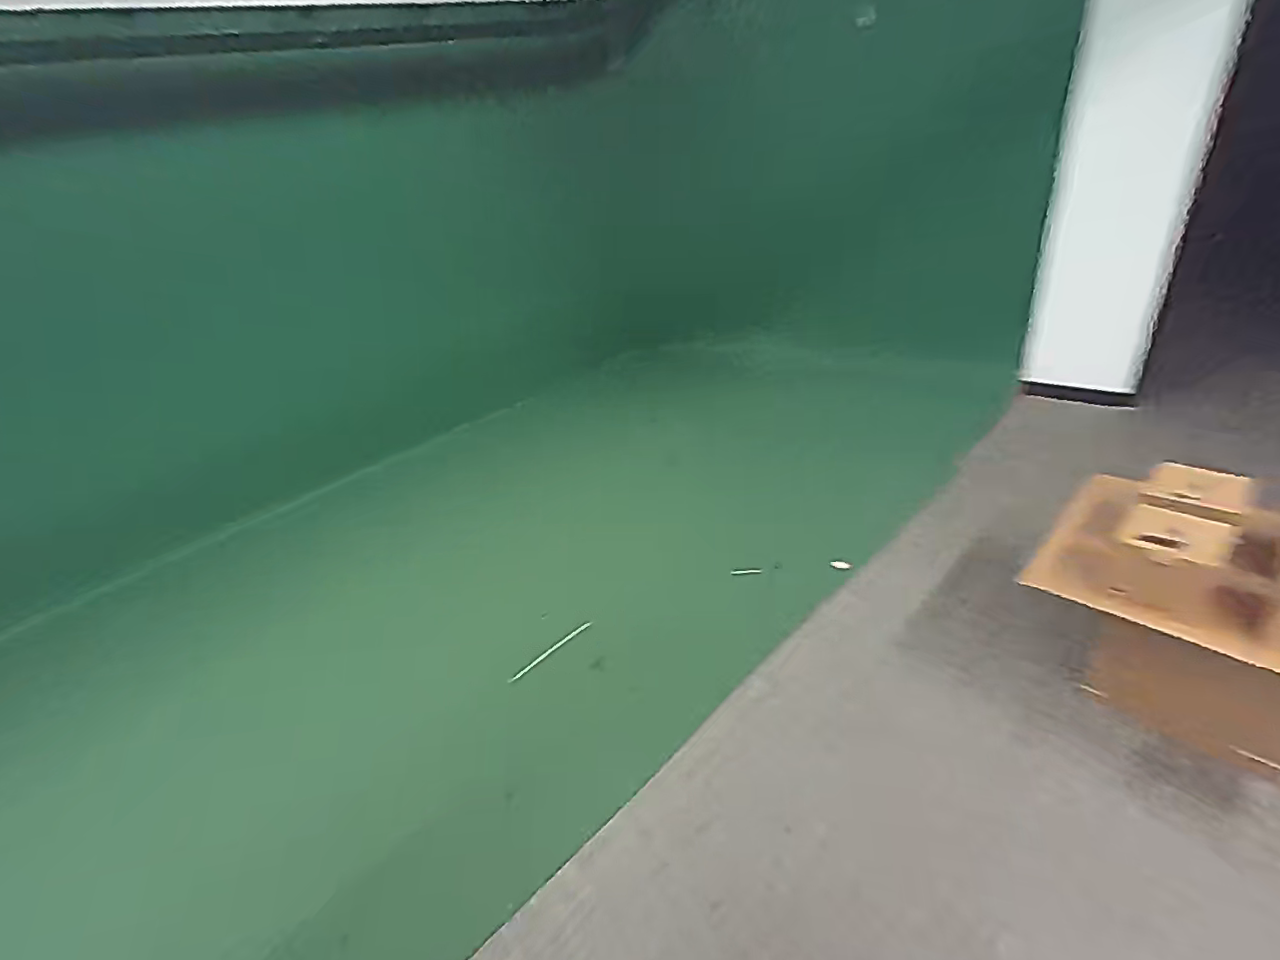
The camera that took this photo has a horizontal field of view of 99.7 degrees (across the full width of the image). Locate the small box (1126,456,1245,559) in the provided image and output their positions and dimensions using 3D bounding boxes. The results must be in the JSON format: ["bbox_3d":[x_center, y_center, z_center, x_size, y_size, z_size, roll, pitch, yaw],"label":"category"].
[{"bbox_3d":[1.337,0.065,1.333,0.179,0.176,0.168,-32,34,-32],"label":"small box"}]
